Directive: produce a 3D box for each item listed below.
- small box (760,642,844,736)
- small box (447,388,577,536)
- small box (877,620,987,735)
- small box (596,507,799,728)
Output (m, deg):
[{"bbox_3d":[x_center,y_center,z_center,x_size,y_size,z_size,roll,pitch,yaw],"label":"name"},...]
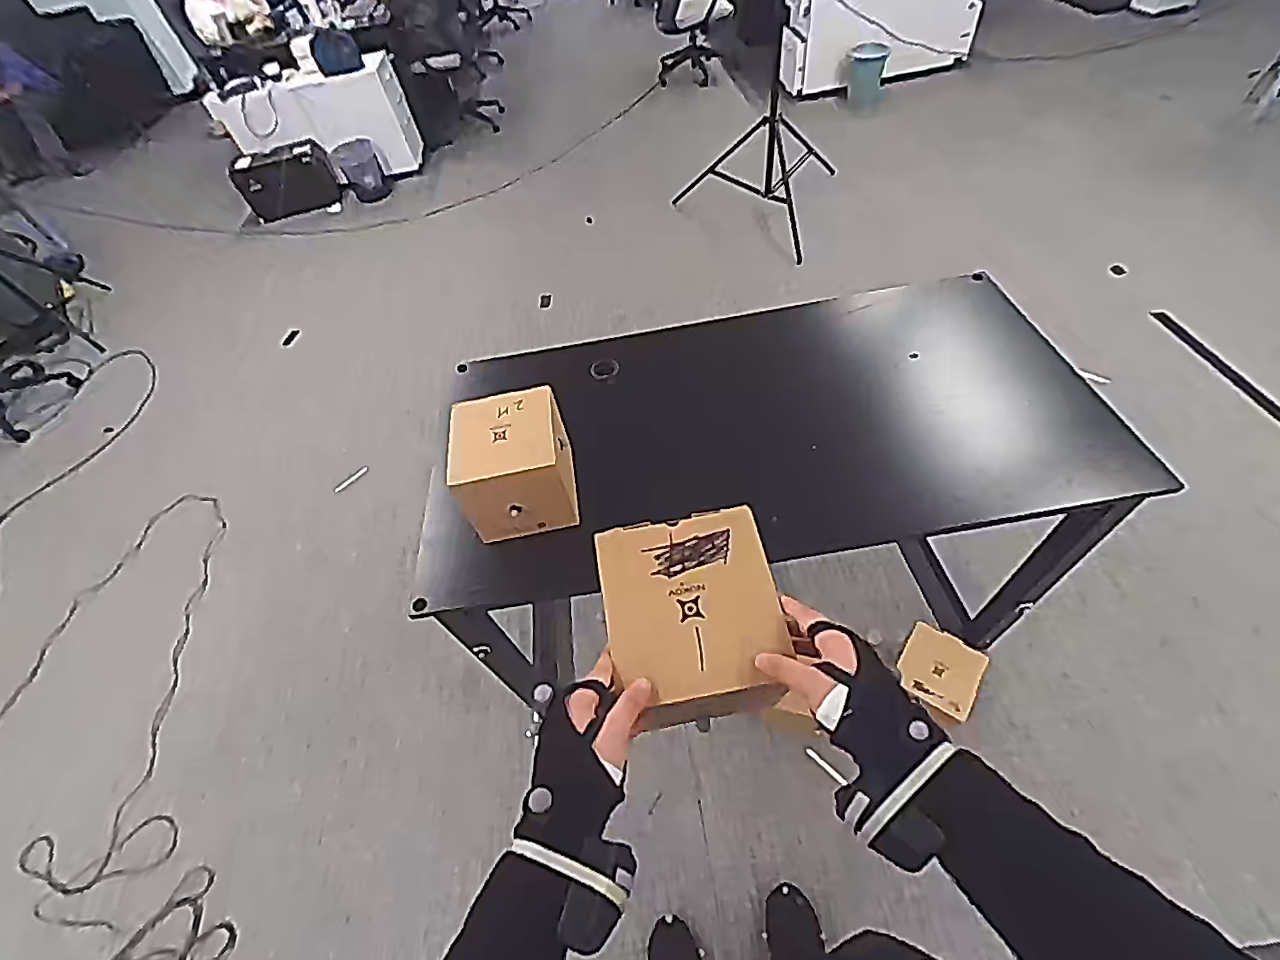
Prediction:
[{"bbox_3d":[0.394,0.514,1.329,0.179,0.176,0.168,6,54,15],"label":"small box"},{"bbox_3d":[-0.207,-0.022,0.905,0.168,0.176,0.179,-12,52,-1],"label":"small box"},{"bbox_3d":[0.695,0.477,1.304,0.168,0.176,0.179,27,62,26],"label":"small box"},{"bbox_3d":[0.052,0.153,0.582,0.168,0.176,0.179,-11,60,-1],"label":"small box"}]
